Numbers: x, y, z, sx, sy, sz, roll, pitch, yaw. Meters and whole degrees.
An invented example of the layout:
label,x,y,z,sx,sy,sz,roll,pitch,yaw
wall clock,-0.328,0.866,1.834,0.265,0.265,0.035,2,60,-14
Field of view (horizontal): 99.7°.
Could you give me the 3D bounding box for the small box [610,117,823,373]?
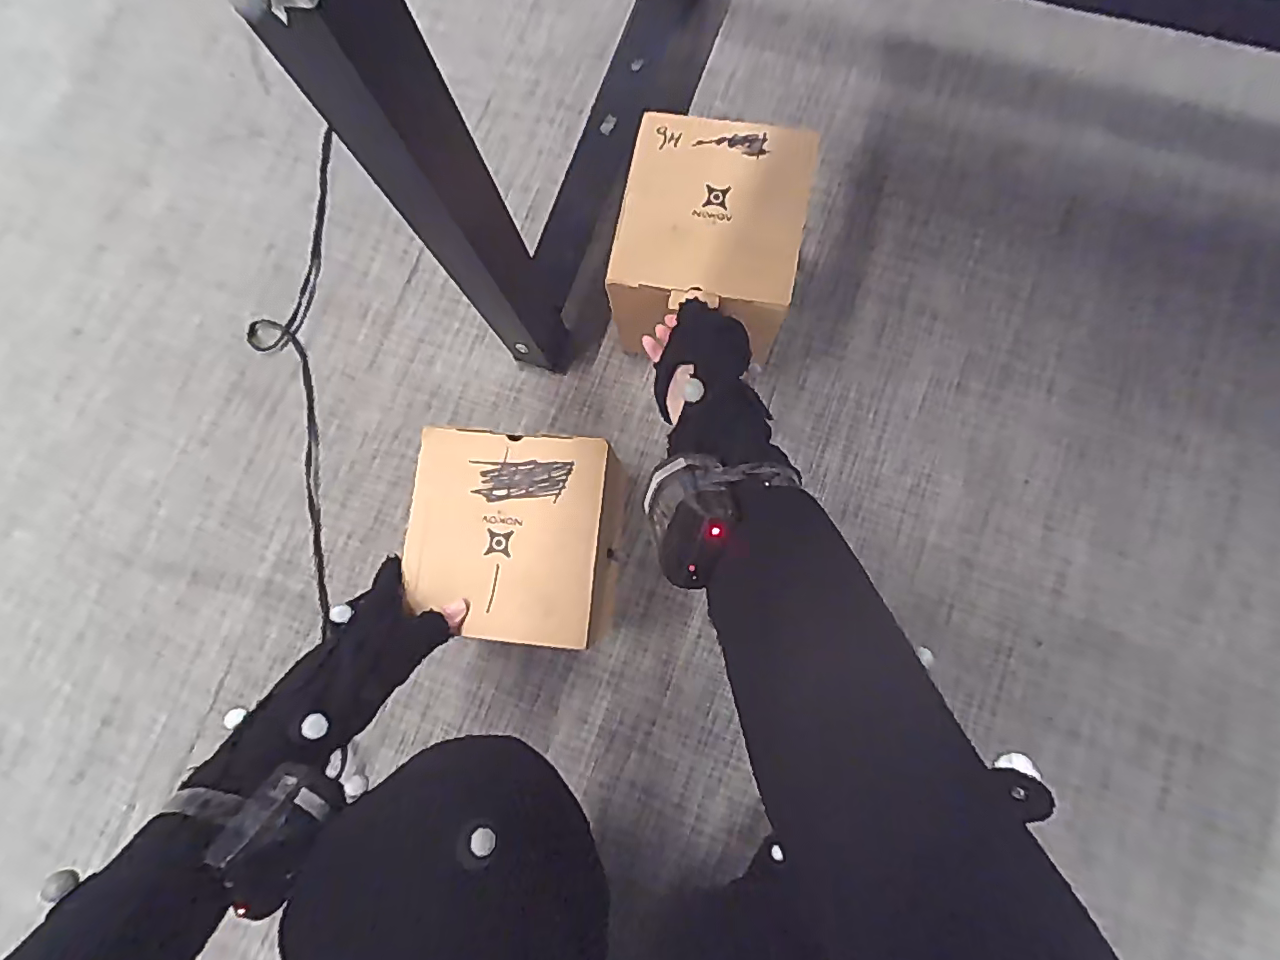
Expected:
label,x,y,z,sx,sy,sz,roll,pitch,yaw
small box,0.074,-0.228,0.566,0.168,0.176,0.179,12,83,4
